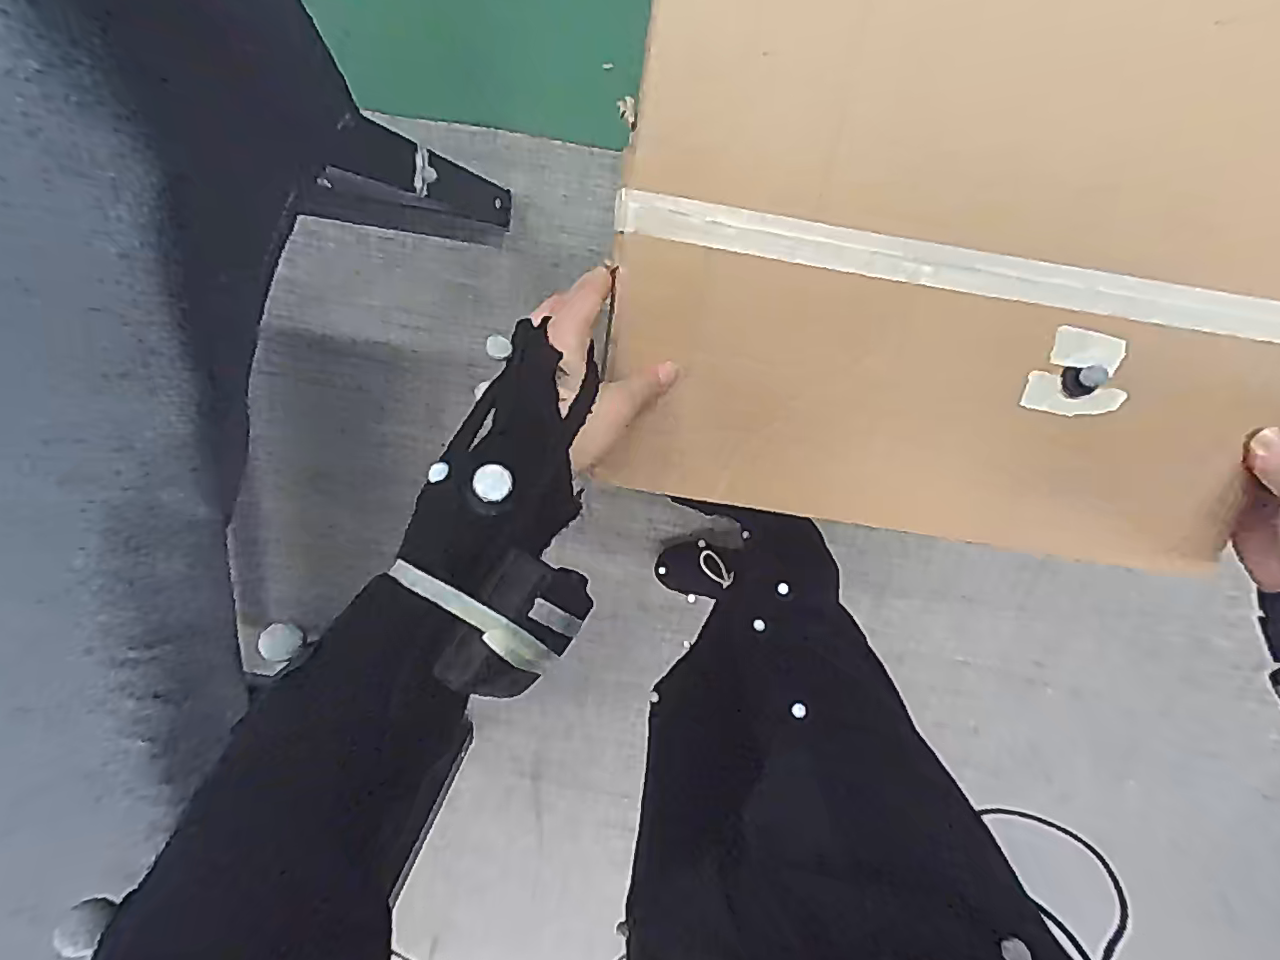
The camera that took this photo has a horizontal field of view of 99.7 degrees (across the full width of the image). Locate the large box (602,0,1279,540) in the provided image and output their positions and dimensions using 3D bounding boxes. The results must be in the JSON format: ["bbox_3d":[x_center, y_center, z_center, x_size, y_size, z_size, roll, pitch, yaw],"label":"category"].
[{"bbox_3d":[0.188,-0.172,0.453,0.408,0.320,0.320,8,109,-3],"label":"large box"}]
